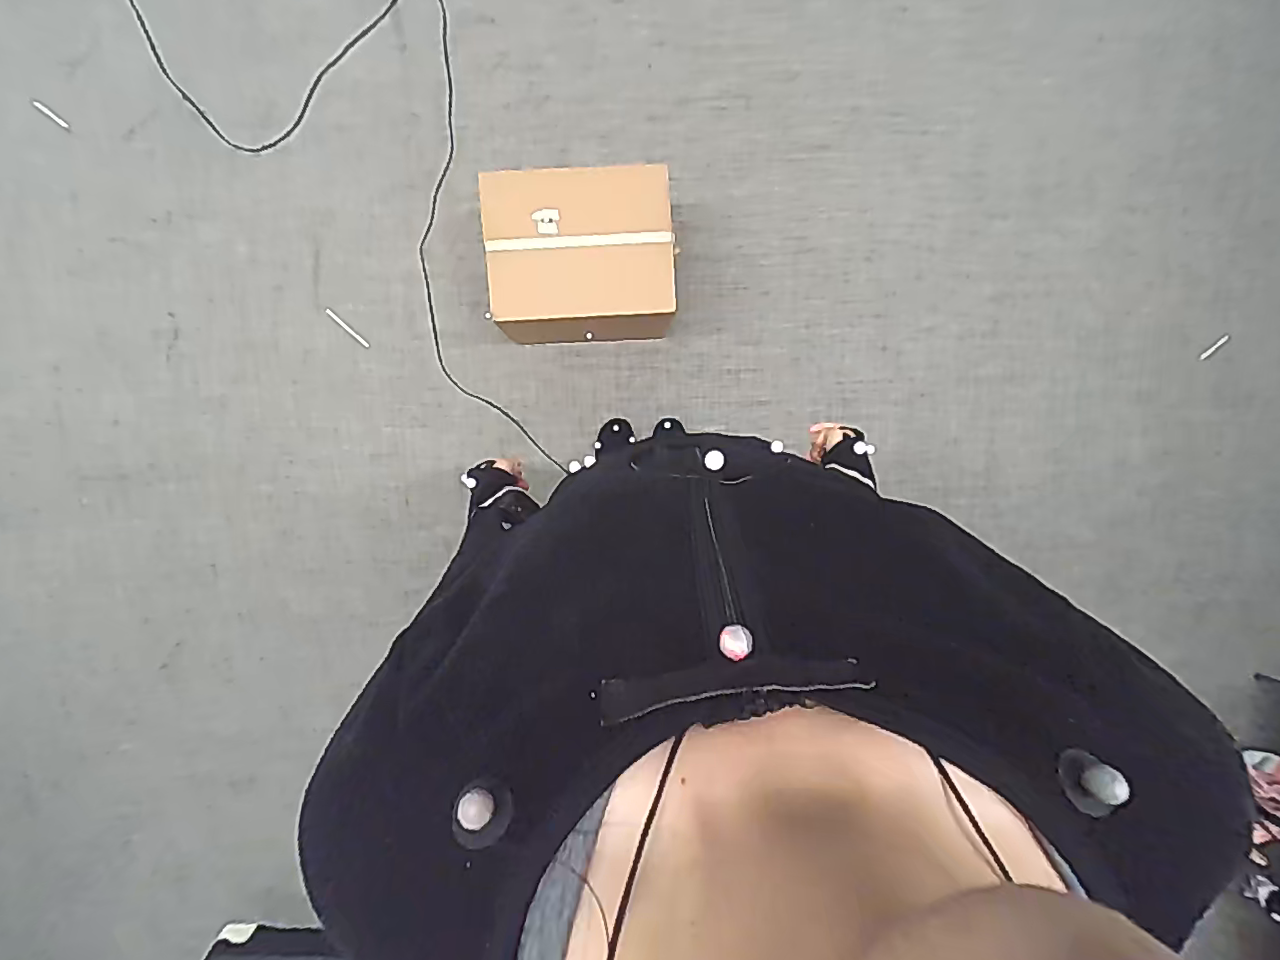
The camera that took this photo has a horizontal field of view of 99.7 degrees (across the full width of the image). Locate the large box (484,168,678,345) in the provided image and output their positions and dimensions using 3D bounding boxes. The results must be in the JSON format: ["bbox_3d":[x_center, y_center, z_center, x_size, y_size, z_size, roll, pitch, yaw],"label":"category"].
[{"bbox_3d":[-0.127,-0.515,1.314,0.408,0.320,0.320,-4,94,-1],"label":"large box"}]
